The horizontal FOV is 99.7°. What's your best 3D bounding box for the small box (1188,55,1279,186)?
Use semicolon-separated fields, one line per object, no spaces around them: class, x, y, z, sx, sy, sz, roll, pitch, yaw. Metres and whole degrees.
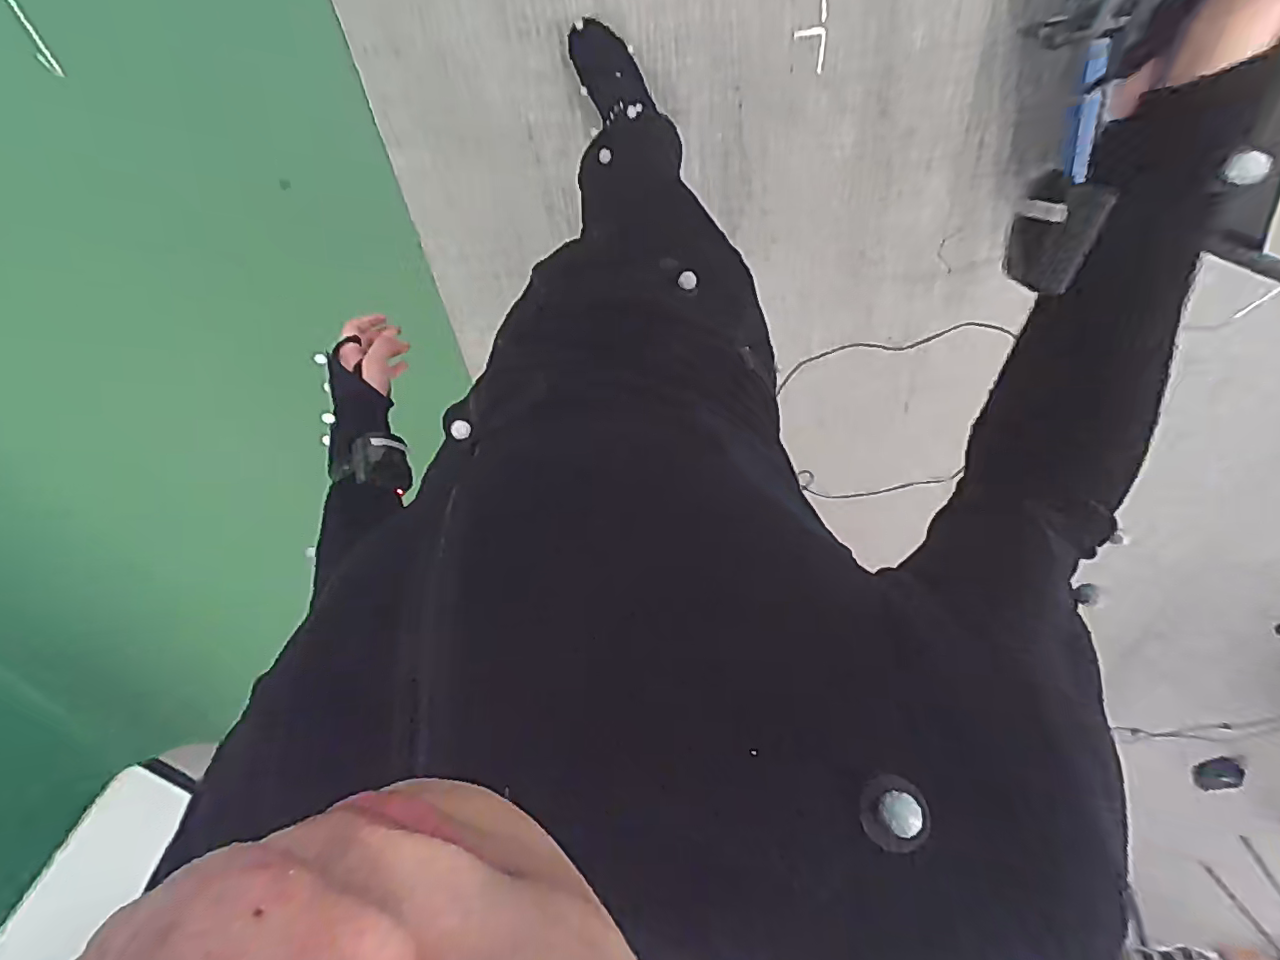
small box;1.163;-0.656;0.966;0.179;0.176;0.168;-11;128;12
